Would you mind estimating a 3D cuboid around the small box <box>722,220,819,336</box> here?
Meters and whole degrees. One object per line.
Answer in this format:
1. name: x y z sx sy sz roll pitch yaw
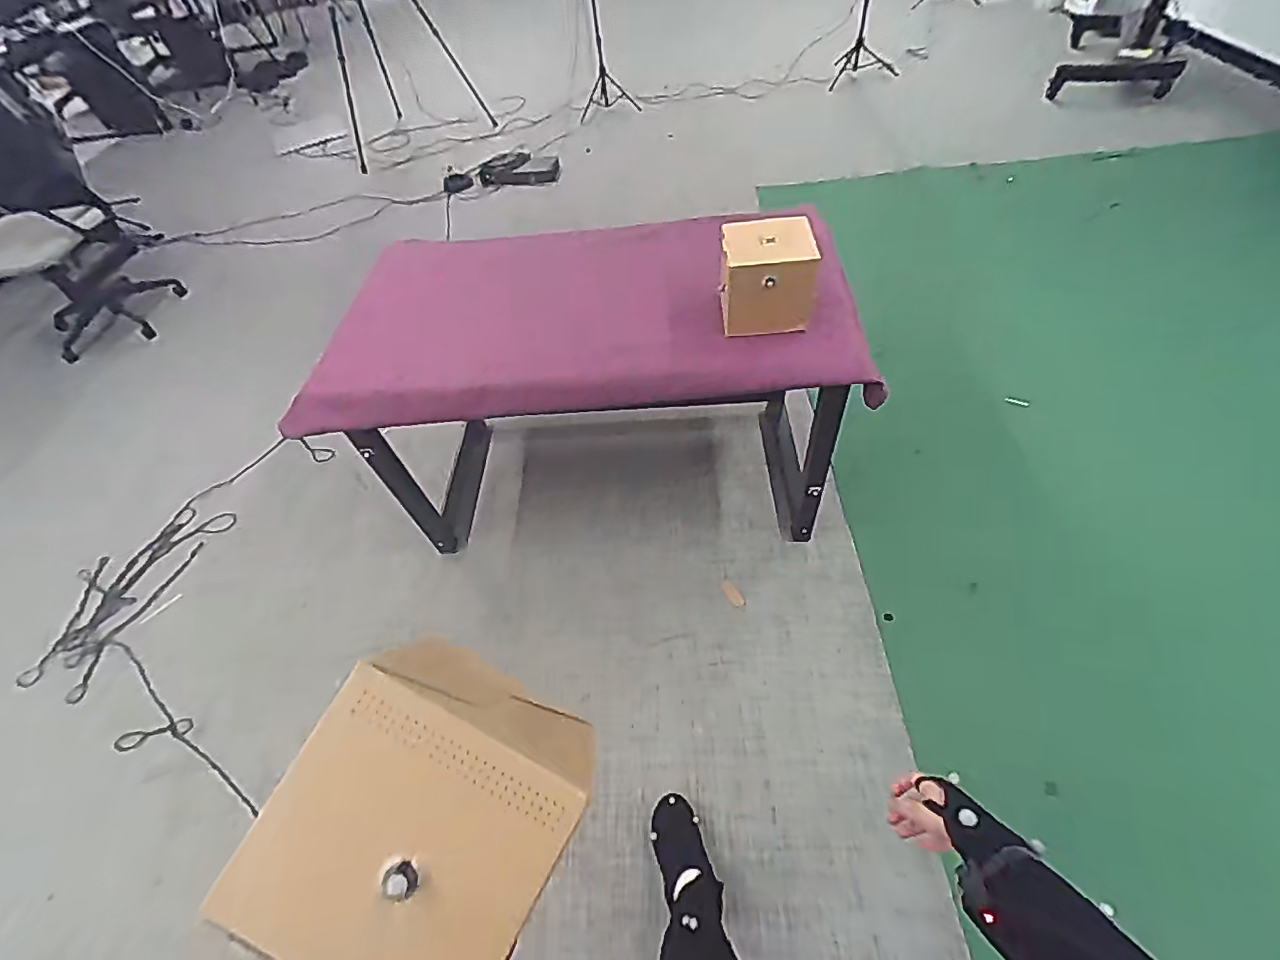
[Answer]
1. small box: 0.263 -0.416 1.129 0.179 0.176 0.168 -2 51 6
